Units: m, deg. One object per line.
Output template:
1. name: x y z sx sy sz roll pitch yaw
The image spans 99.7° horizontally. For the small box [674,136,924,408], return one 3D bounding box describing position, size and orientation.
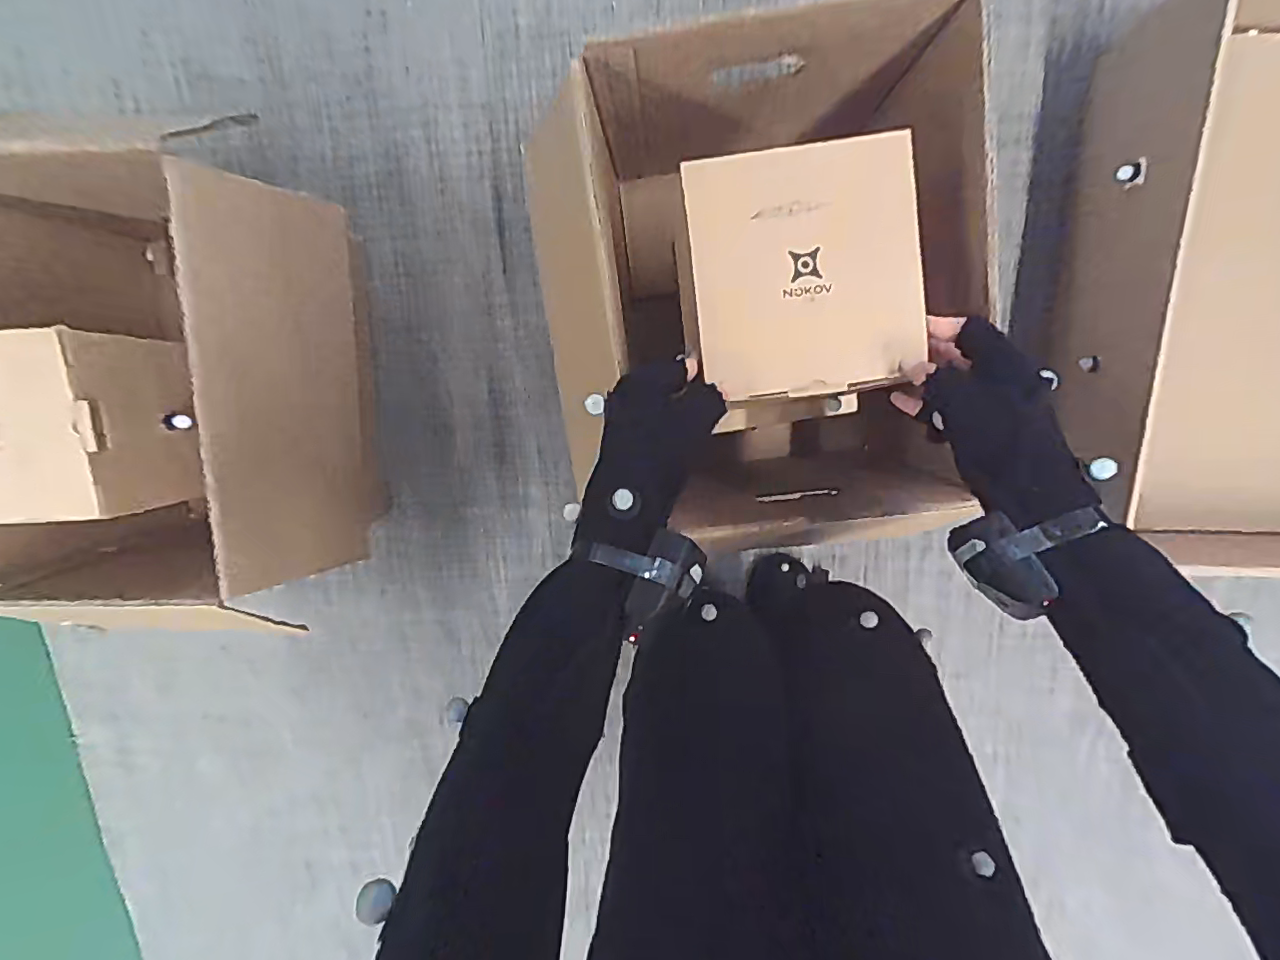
1. small box: 0.121 -0.157 0.472 0.168 0.176 0.179 -7 94 1
